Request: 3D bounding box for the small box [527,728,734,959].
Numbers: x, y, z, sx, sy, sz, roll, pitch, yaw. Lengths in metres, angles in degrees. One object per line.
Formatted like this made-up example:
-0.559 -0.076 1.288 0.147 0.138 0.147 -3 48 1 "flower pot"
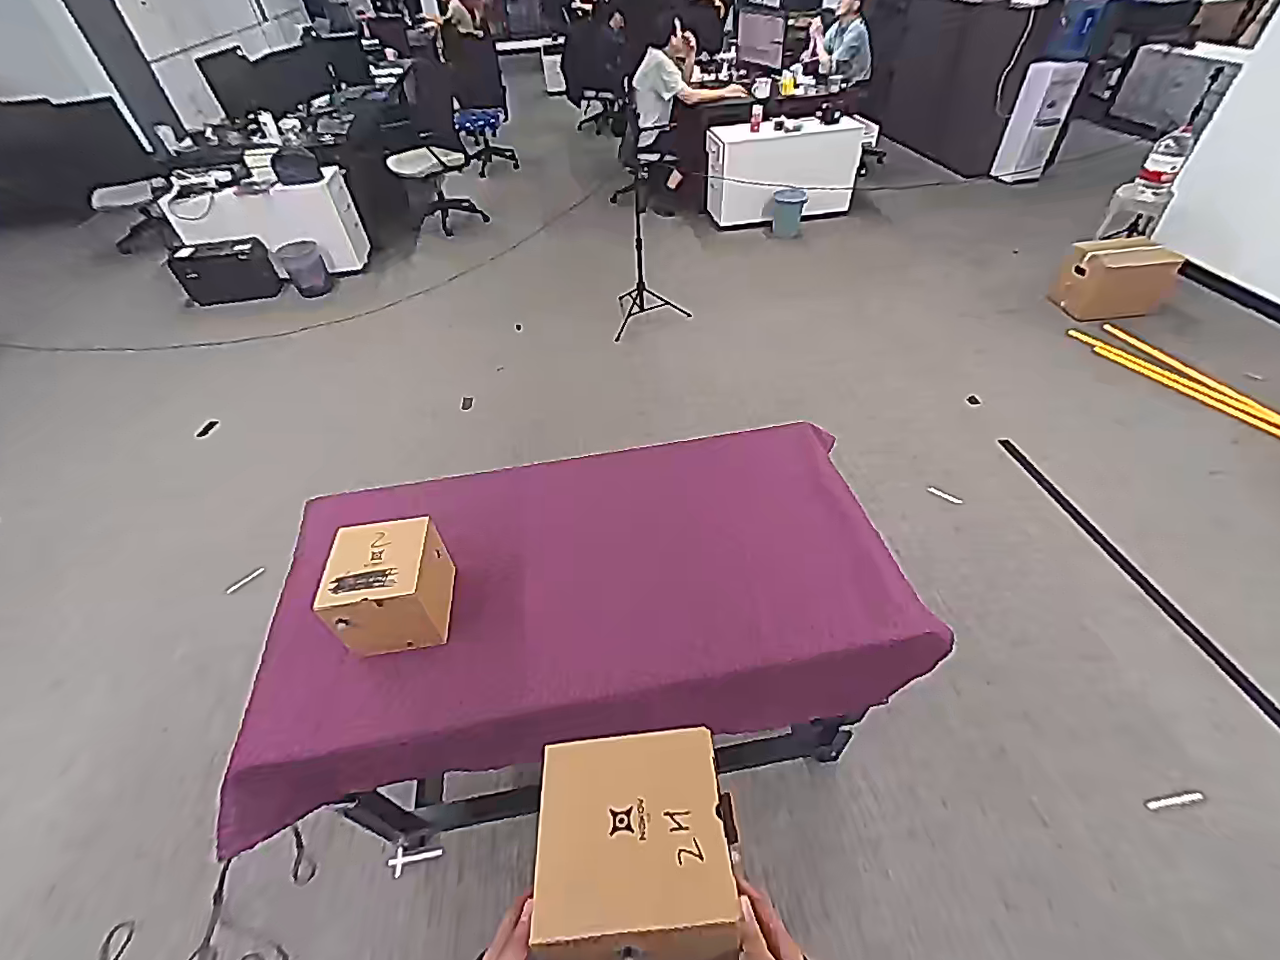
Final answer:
-0.003 0.383 0.552 0.179 0.176 0.168 -6 36 0 "small box"
